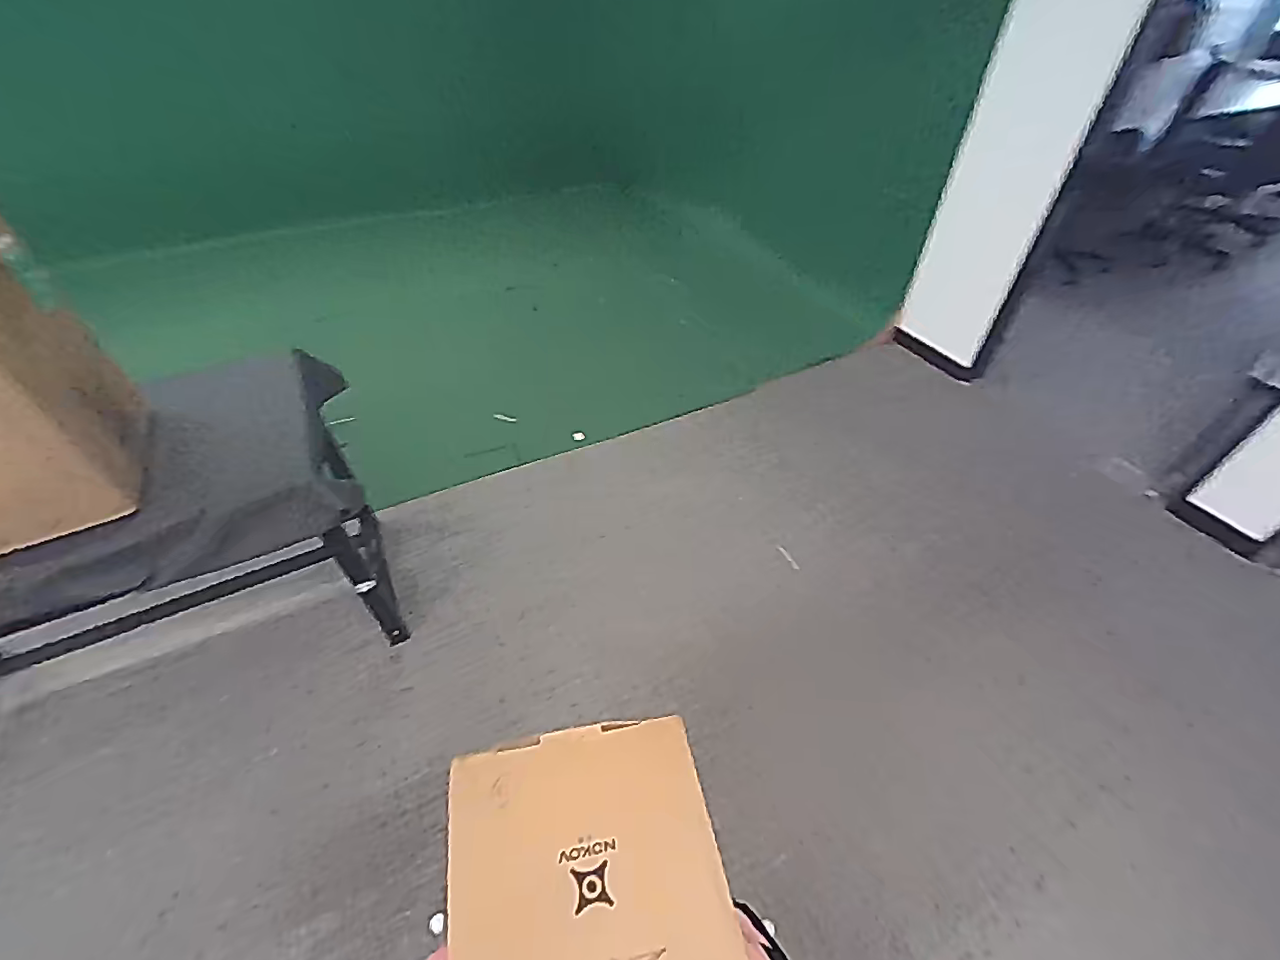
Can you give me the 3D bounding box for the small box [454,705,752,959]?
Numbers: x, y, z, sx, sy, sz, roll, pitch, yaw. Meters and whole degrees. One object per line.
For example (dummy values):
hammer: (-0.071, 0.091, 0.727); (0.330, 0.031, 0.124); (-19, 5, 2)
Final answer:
small box: (-0.040, 0.293, 0.386); (0.168, 0.176, 0.179); (-5, 45, -14)
